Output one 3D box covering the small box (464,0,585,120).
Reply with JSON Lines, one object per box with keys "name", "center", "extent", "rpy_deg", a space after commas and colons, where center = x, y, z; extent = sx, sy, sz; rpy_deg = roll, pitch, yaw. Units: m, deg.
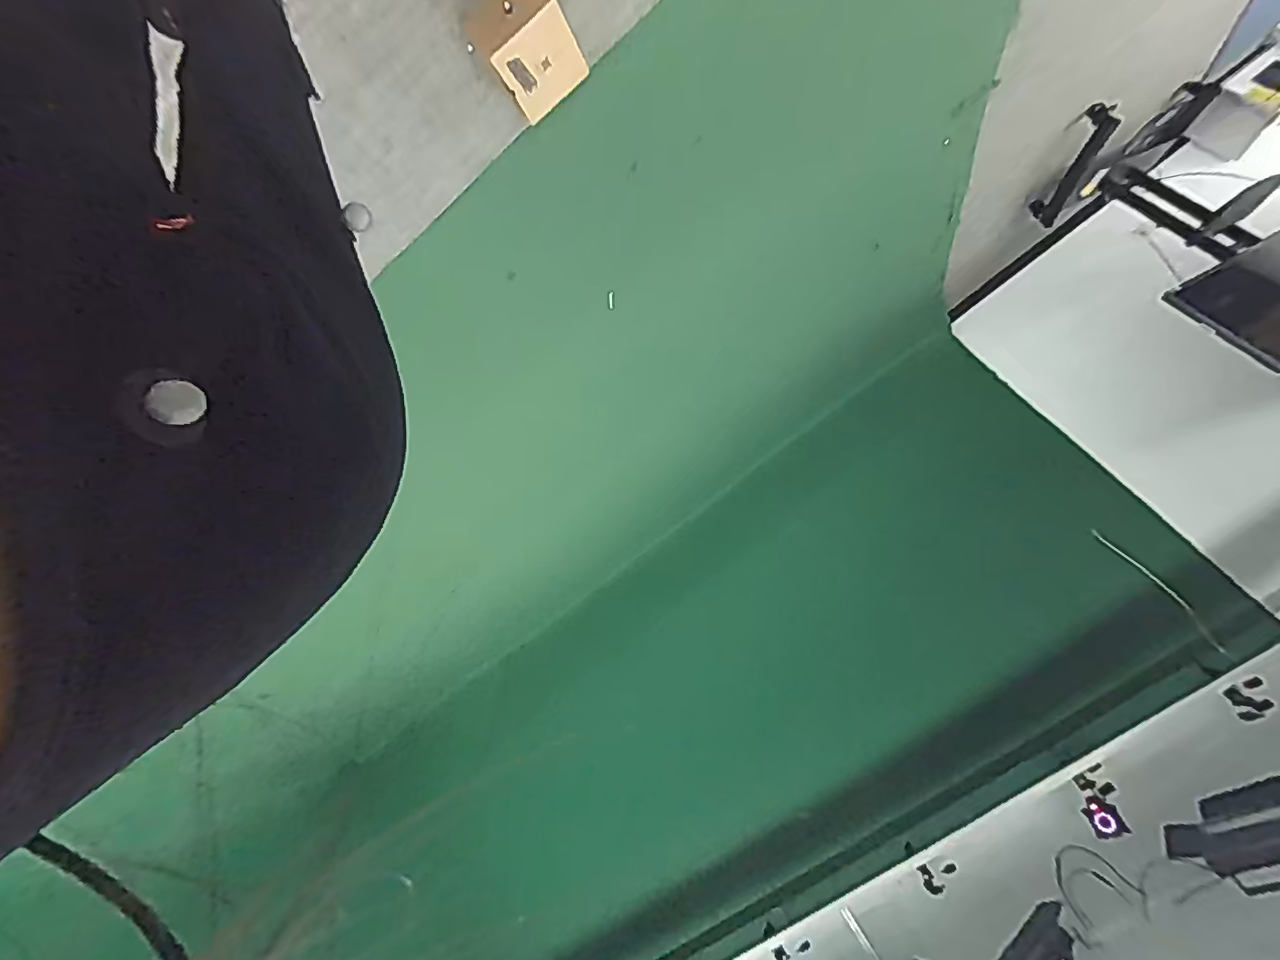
{"name": "small box", "center": [-0.257, -0.946, 1.173], "extent": [0.179, 0.176, 0.168], "rpy_deg": [-38, 156, 8]}
